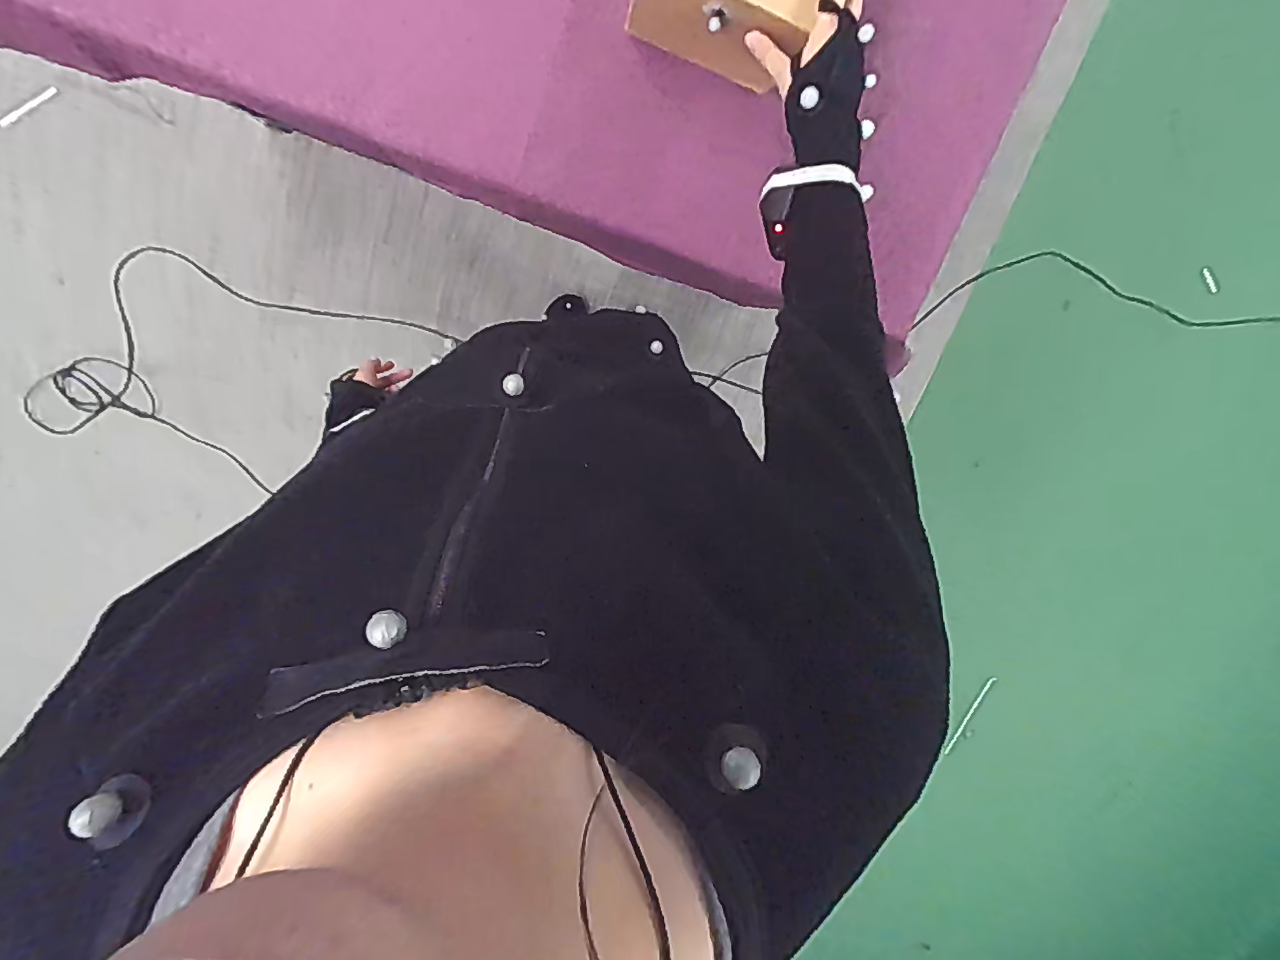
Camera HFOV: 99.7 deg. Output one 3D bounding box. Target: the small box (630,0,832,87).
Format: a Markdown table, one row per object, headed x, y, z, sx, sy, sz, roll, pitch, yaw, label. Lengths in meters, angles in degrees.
| x | y | z | sx | sy | sz | roll | pitch | yaw | label |
| --- | --- | --- | --- | --- | --- | --- | --- | --- | --- |
| 0.099 | -0.524 | 0.523 | 0.179 | 0.176 | 0.168 | 16 | 107 | -13 | small box |
